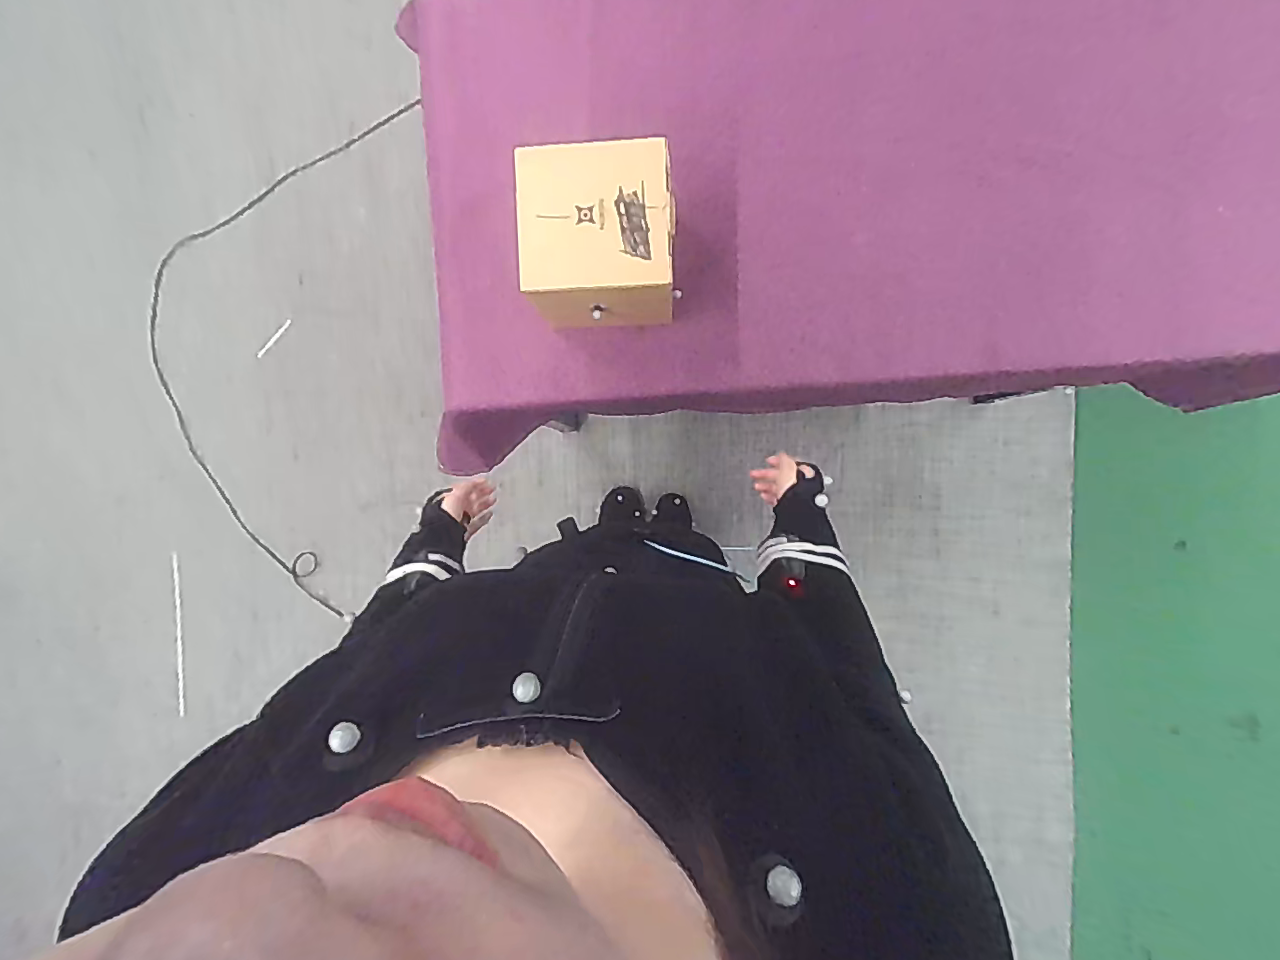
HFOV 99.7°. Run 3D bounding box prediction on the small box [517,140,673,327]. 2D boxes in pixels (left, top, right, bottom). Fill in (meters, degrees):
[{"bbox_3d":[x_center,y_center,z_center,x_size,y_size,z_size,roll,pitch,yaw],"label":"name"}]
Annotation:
[{"bbox_3d":[-0.048,-0.300,0.692,0.179,0.176,0.168,-2,91,4],"label":"small box"}]
